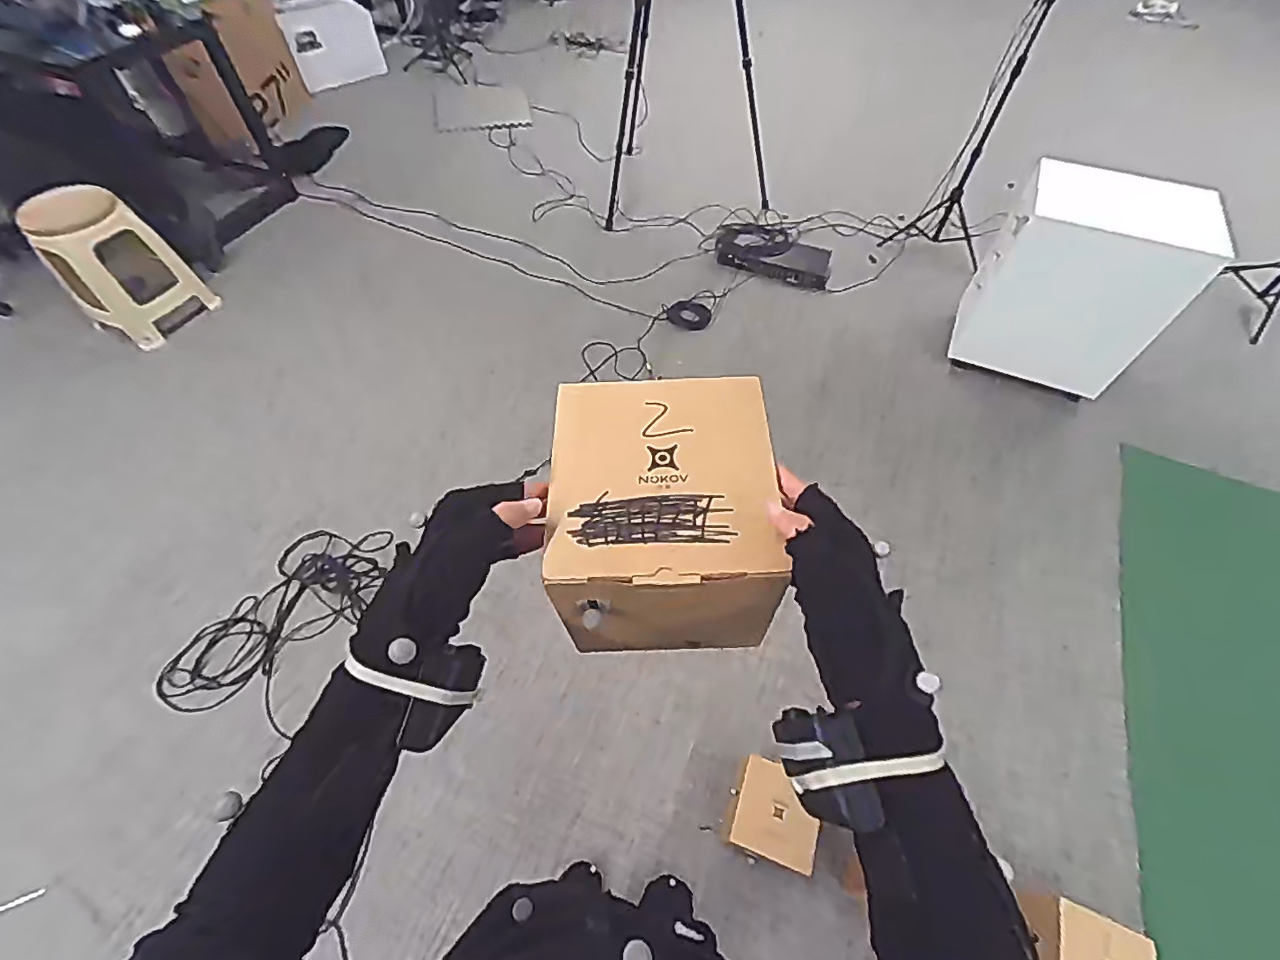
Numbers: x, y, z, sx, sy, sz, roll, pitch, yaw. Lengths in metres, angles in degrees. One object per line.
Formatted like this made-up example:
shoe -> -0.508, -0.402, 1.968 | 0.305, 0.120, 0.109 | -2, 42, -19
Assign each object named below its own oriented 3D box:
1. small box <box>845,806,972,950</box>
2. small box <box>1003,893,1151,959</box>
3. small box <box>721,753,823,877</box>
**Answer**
small box -> 0.547, 0.813, 1.119 | 0.168, 0.176, 0.179 | 26, 59, 16
small box -> 0.831, 0.935, 1.039 | 0.168, 0.176, 0.179 | 21, 57, 13
small box -> 0.281, 0.725, 1.174 | 0.168, 0.176, 0.179 | 17, 58, 12
